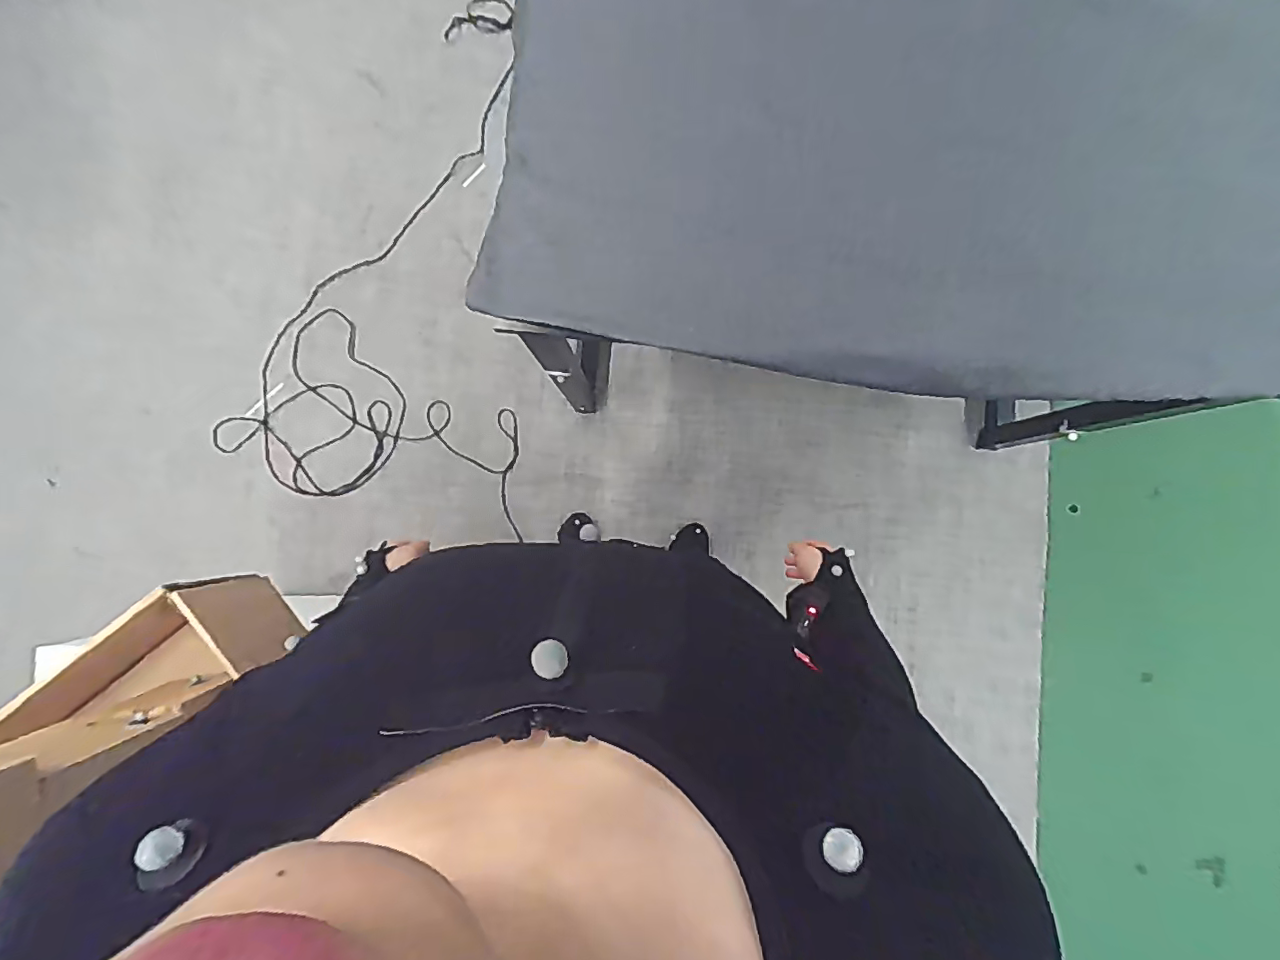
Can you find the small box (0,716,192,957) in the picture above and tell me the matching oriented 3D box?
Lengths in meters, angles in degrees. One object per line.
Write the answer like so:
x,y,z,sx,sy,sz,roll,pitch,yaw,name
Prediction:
-0.655,0.382,0.609,0.168,0.176,0.179,-5,90,1,small box
